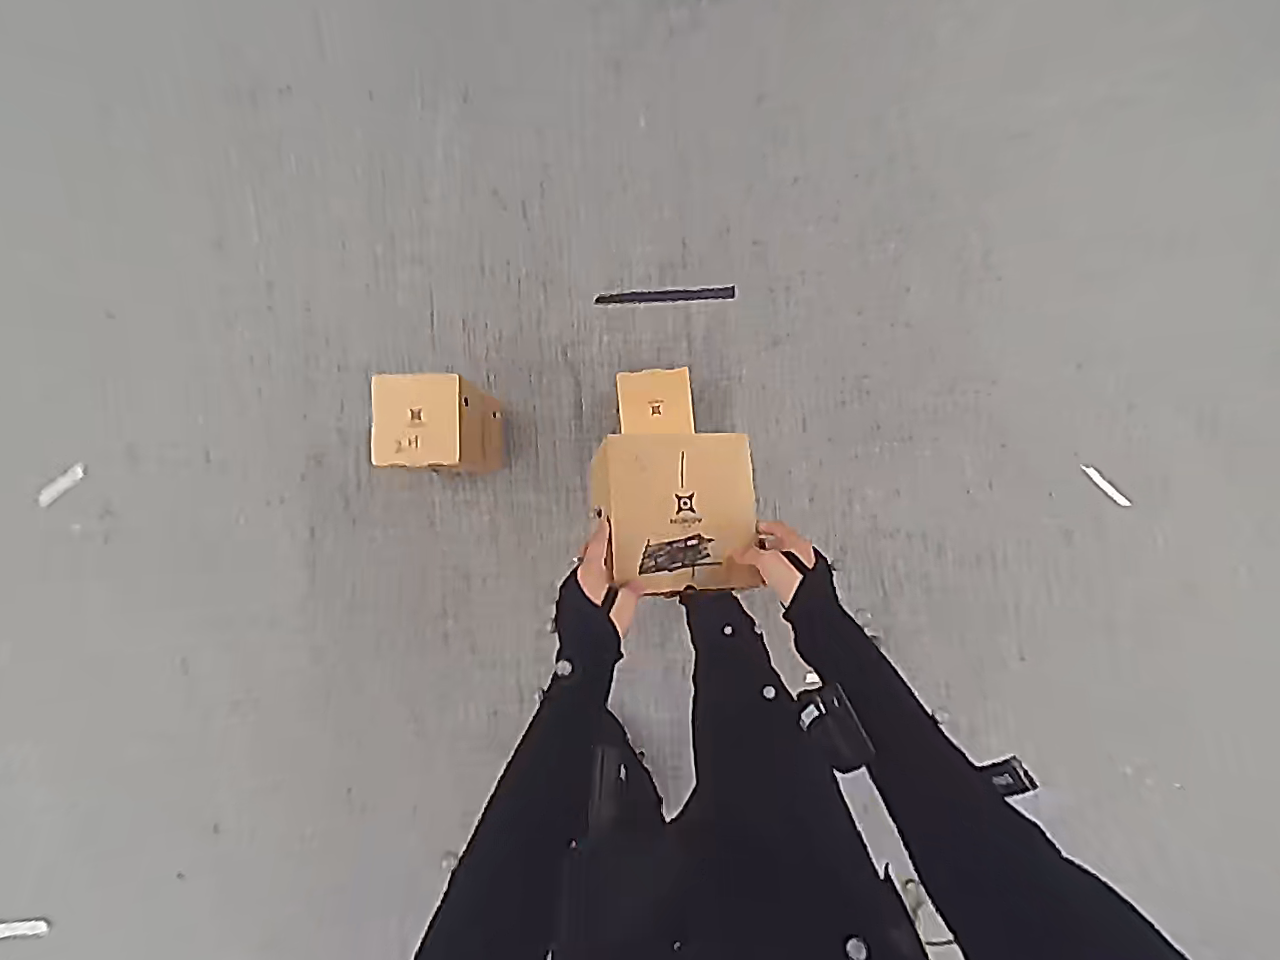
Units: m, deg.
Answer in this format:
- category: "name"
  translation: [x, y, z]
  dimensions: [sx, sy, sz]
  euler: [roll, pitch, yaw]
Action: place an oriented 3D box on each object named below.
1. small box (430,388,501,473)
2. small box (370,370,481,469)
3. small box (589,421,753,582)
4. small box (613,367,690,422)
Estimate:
- category: "small box"
  translation: [-0.427, -0.111, 1.263]
  dimensions: [0.168, 0.176, 0.179]
  euler: [0, 87, -2]
- category: "small box"
  translation: [-0.427, -0.116, 1.098]
  dimensions: [0.168, 0.176, 0.179]
  euler: [-1, 87, -1]
- category: "small box"
  translation: [0.027, 0.031, 0.671]
  dimensions: [0.168, 0.176, 0.179]
  euler: [-1, 81, -11]
- category: "small box"
  translation: [0.027, -0.157, 1.287]
  dimensions: [0.168, 0.176, 0.179]
  euler: [-5, 86, -3]
